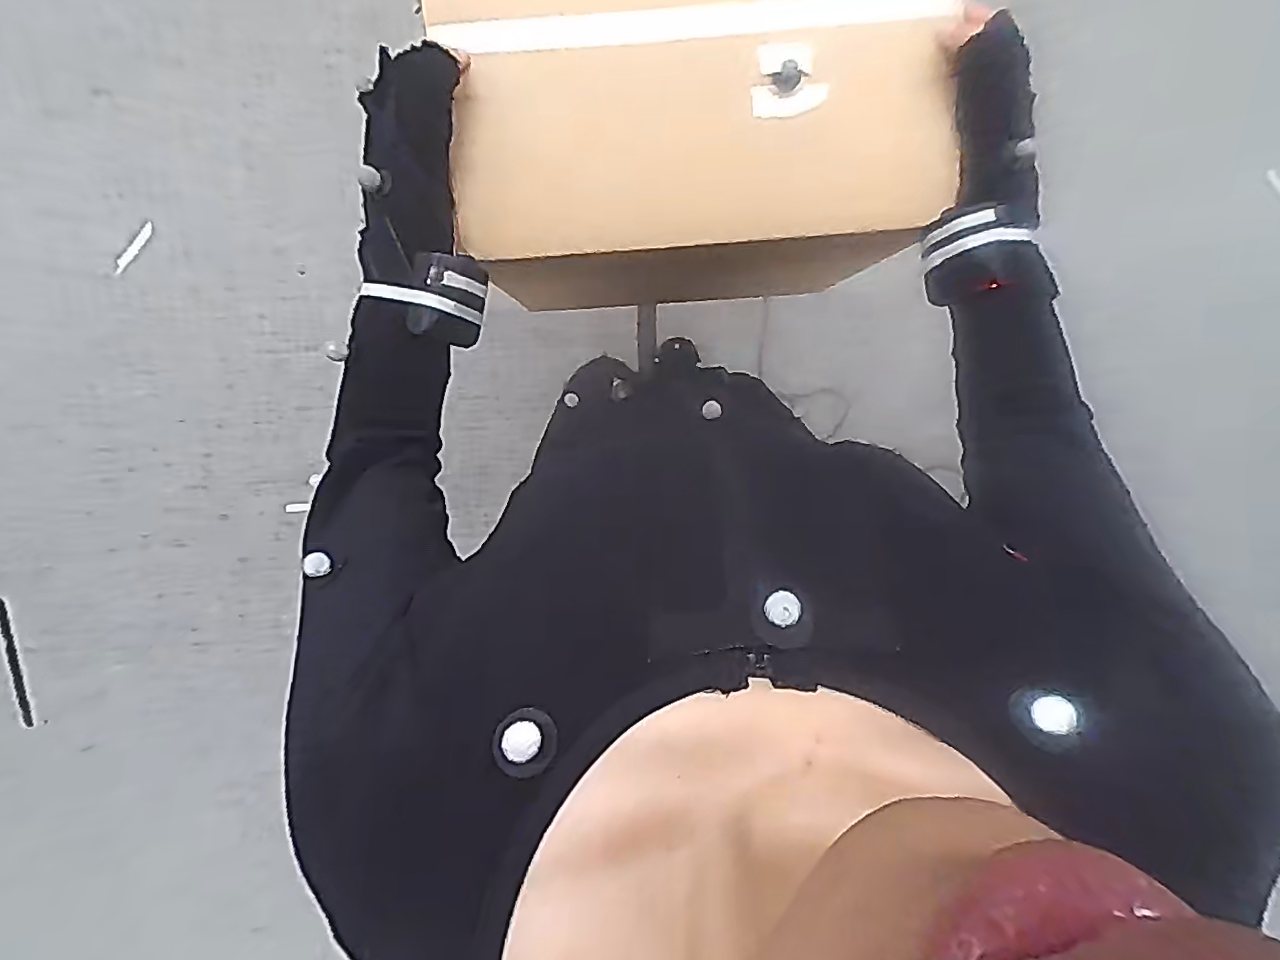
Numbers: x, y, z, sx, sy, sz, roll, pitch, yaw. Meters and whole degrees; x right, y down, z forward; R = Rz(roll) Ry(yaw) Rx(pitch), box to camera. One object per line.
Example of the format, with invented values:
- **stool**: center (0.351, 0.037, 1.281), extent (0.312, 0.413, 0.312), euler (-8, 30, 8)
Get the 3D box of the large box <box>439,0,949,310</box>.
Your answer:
- **large box**: center (0.041, -0.377, 0.571), extent (0.408, 0.320, 0.320), euler (-5, 100, -1)
